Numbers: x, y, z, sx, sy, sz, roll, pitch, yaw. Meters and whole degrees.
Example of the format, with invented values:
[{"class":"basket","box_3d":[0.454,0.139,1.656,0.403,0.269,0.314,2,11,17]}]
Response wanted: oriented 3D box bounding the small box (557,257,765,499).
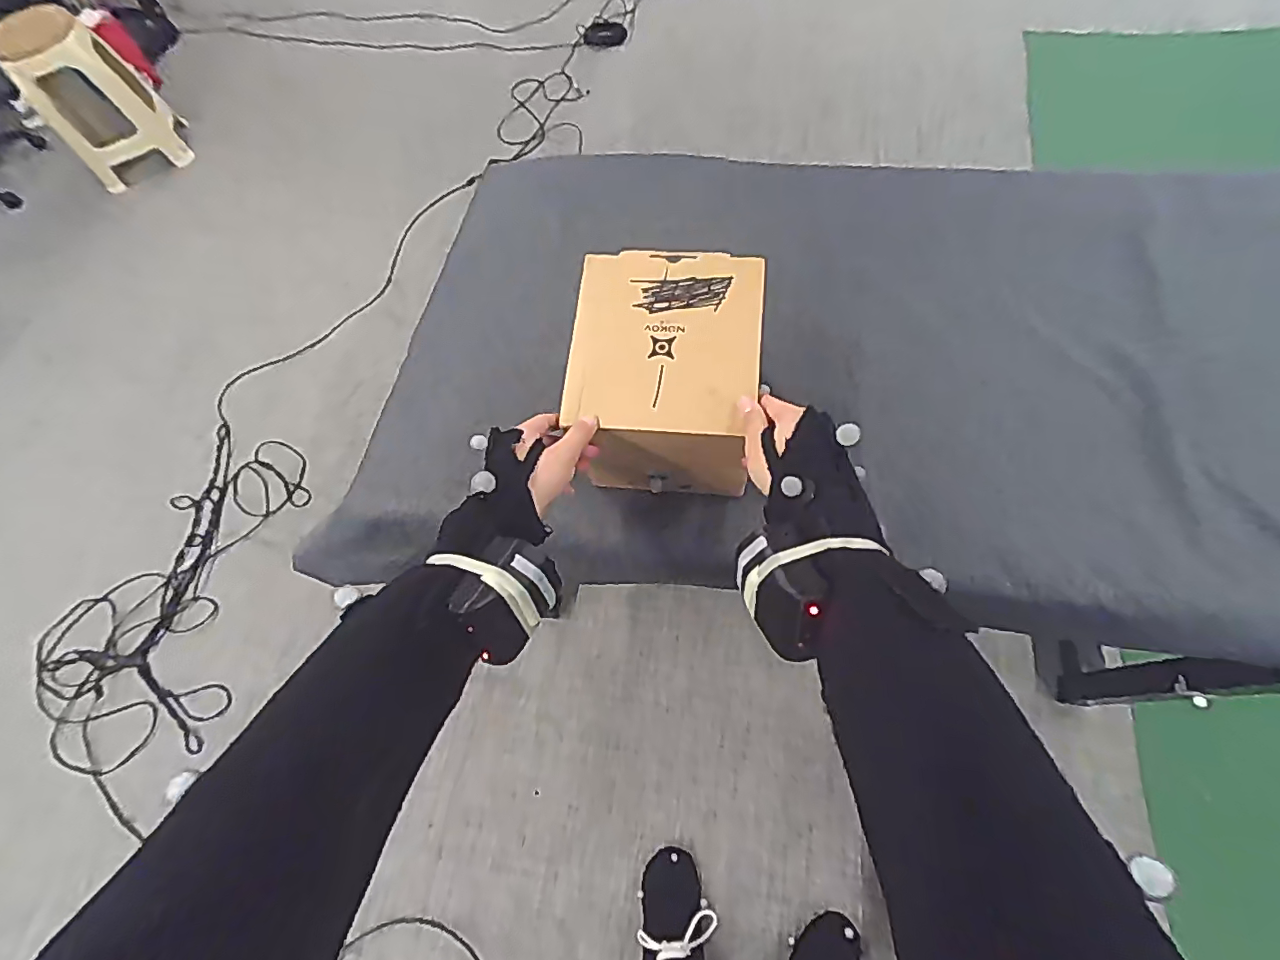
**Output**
[{"class":"small box","box_3d":[0.029,-0.093,0.539,0.168,0.176,0.179,4,72,8]}]
